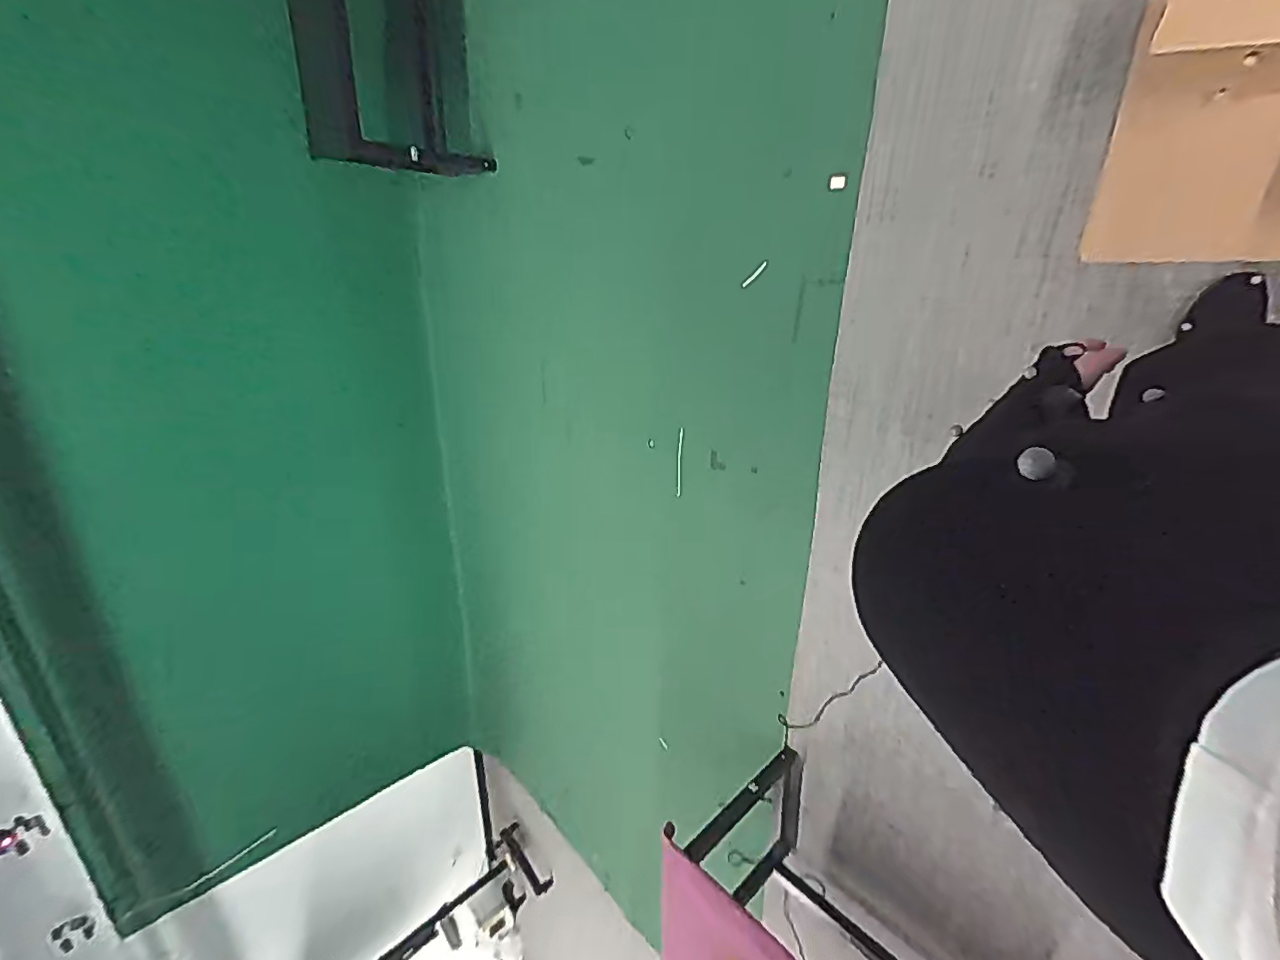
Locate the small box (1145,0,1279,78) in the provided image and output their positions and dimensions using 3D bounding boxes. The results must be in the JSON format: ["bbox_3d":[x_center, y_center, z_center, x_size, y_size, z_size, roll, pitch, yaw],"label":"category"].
[{"bbox_3d":[0.946,-0.749,0.841,0.179,0.176,0.168,30,123,39],"label":"small box"}]
